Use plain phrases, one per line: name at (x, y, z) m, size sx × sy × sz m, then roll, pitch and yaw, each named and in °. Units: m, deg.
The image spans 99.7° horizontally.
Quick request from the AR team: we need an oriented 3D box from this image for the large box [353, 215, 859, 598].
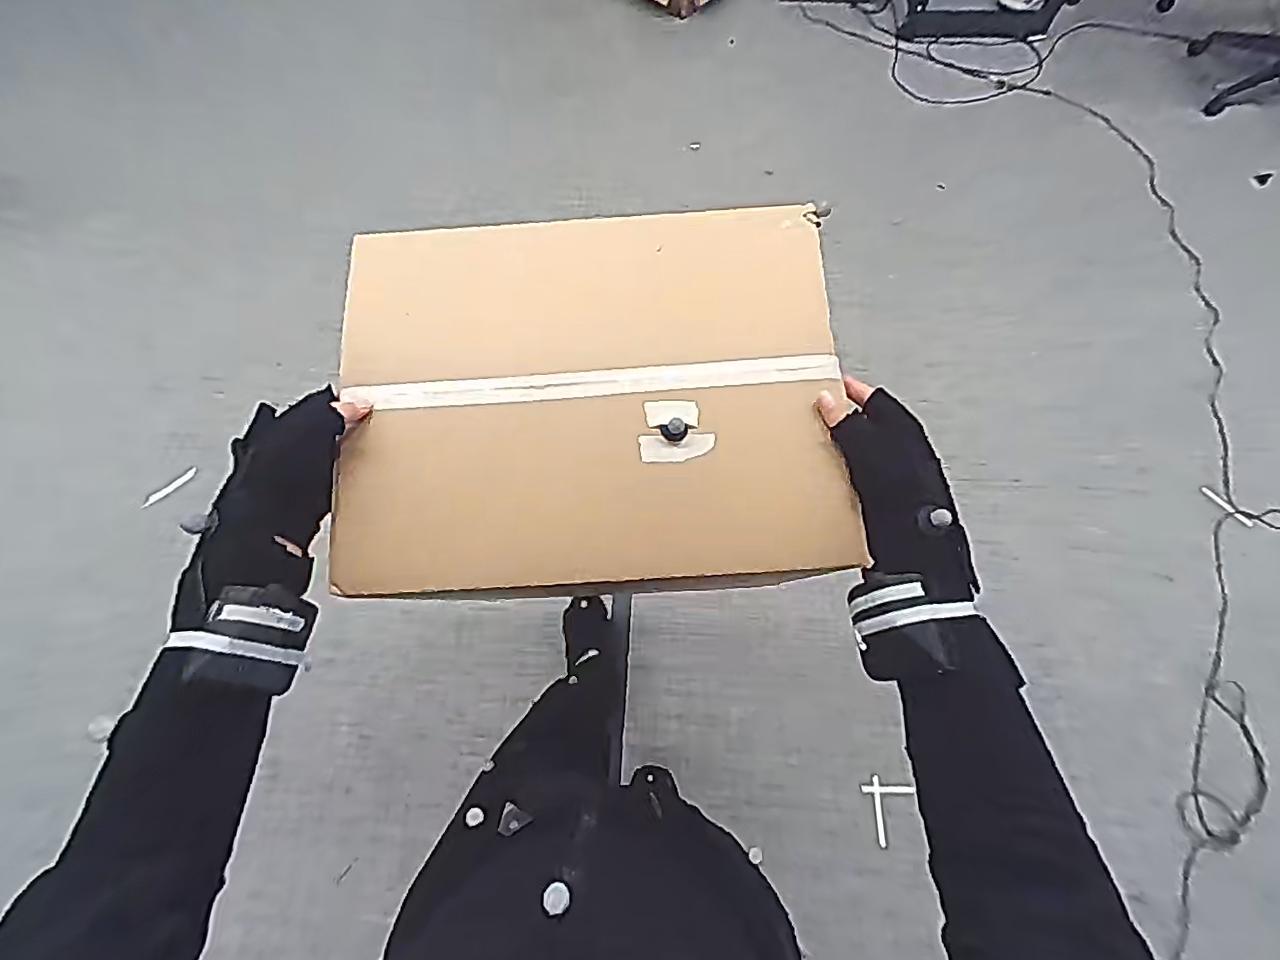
large box at (-0.034, -0.043, 0.597) m, size 0.408 × 0.320 × 0.320 m, roll -3°, pitch 77°, yaw 0°
